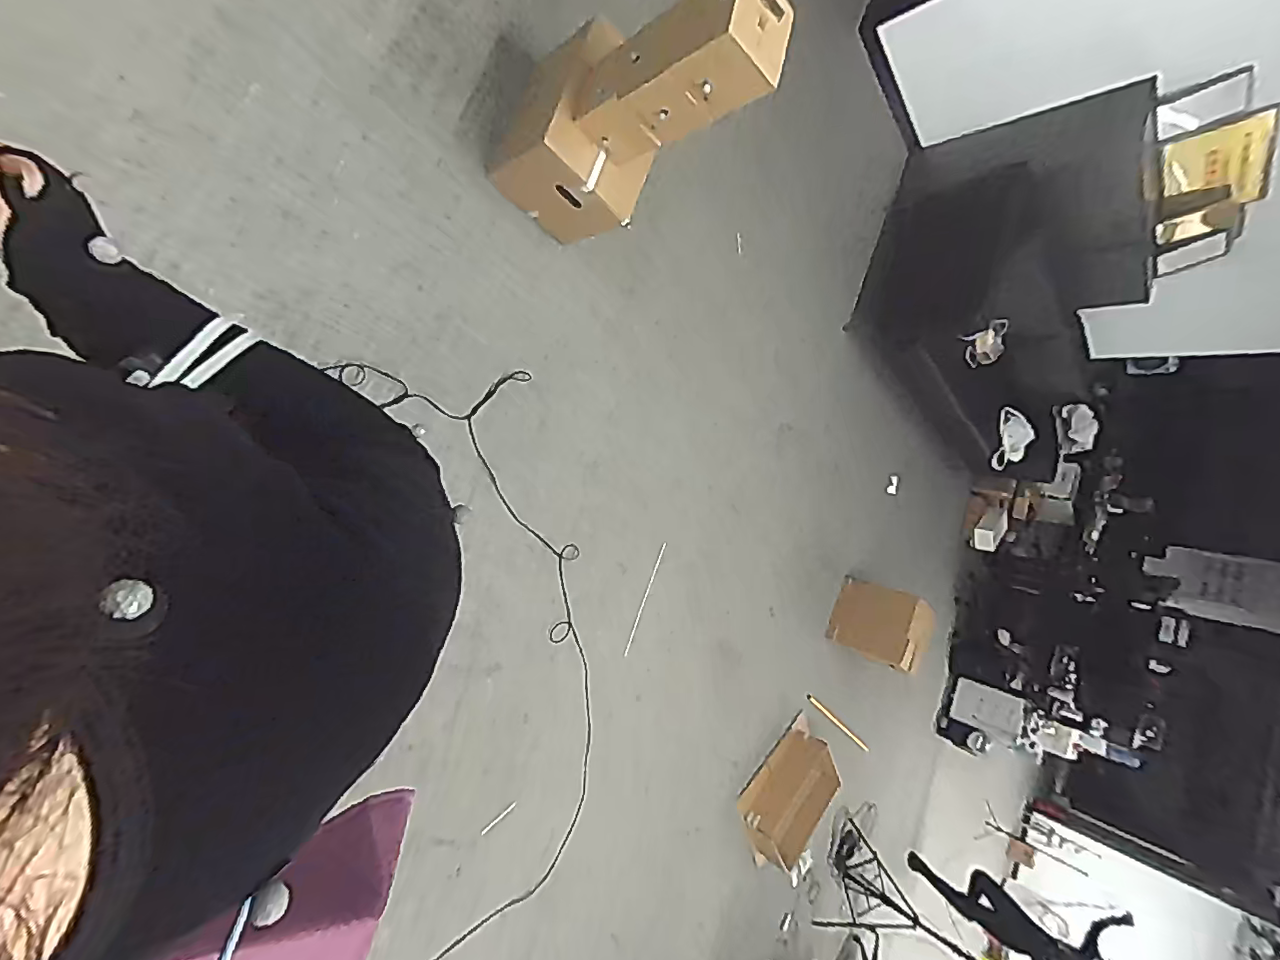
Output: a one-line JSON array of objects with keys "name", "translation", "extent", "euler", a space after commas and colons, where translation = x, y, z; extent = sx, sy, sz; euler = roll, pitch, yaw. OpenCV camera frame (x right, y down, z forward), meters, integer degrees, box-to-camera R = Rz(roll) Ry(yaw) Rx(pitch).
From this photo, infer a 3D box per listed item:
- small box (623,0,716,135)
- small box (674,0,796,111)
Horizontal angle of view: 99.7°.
[{"name": "small box", "translation": [0.083, -0.940, 1.241], "extent": [0.168, 0.176, 0.179], "euler": [17, 87, -42]}, {"name": "small box", "translation": [0.192, -0.921, 1.118], "extent": [0.168, 0.176, 0.179], "euler": [15, 87, -41]}]
